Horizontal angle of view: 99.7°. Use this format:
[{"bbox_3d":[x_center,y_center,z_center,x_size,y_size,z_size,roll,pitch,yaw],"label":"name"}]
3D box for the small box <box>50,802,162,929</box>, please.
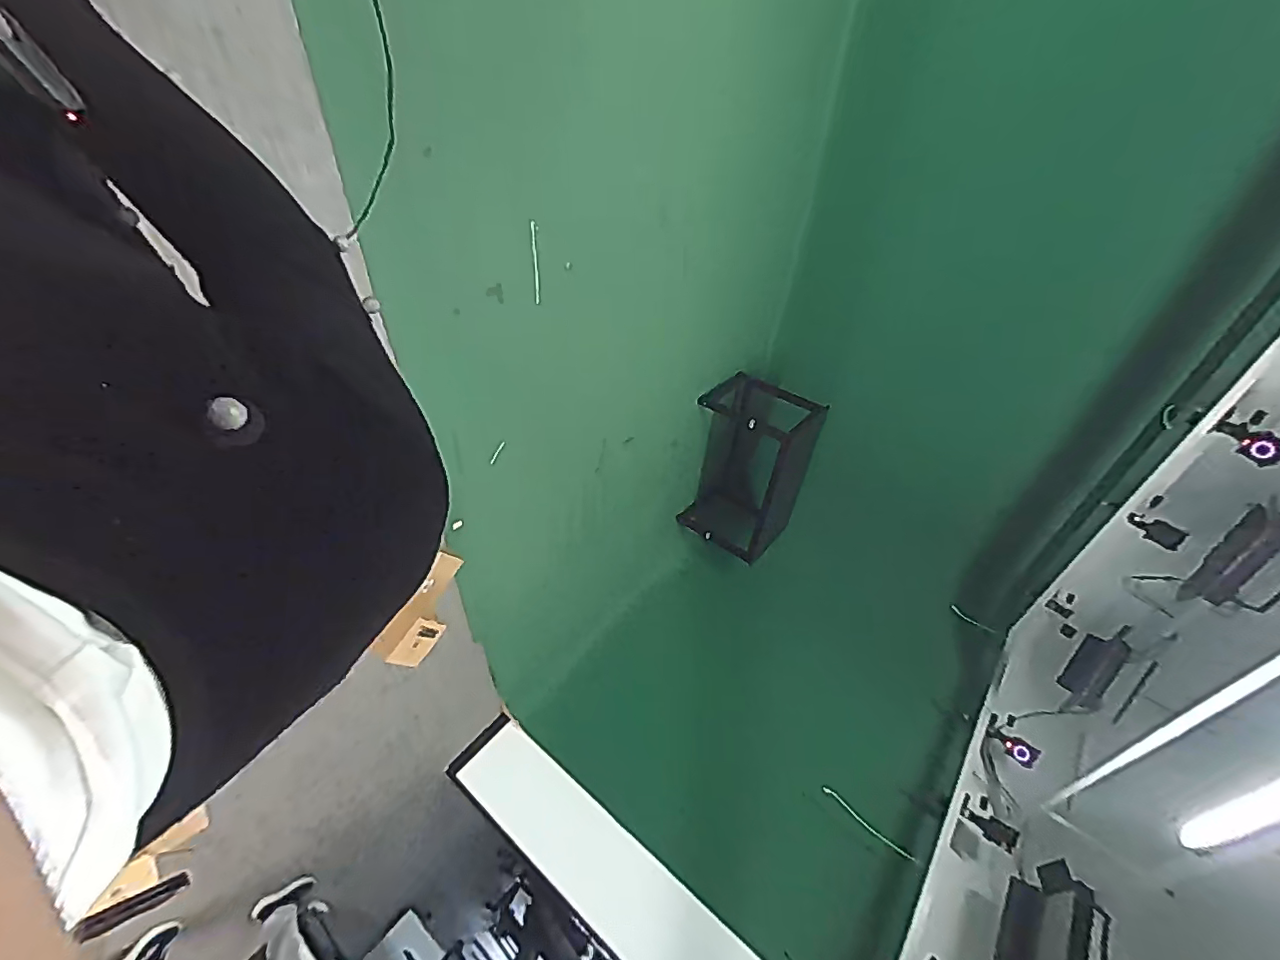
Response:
[{"bbox_3d":[-1.394,0.998,1.416,0.168,0.176,0.179,-20,132,-52],"label":"small box"}]
